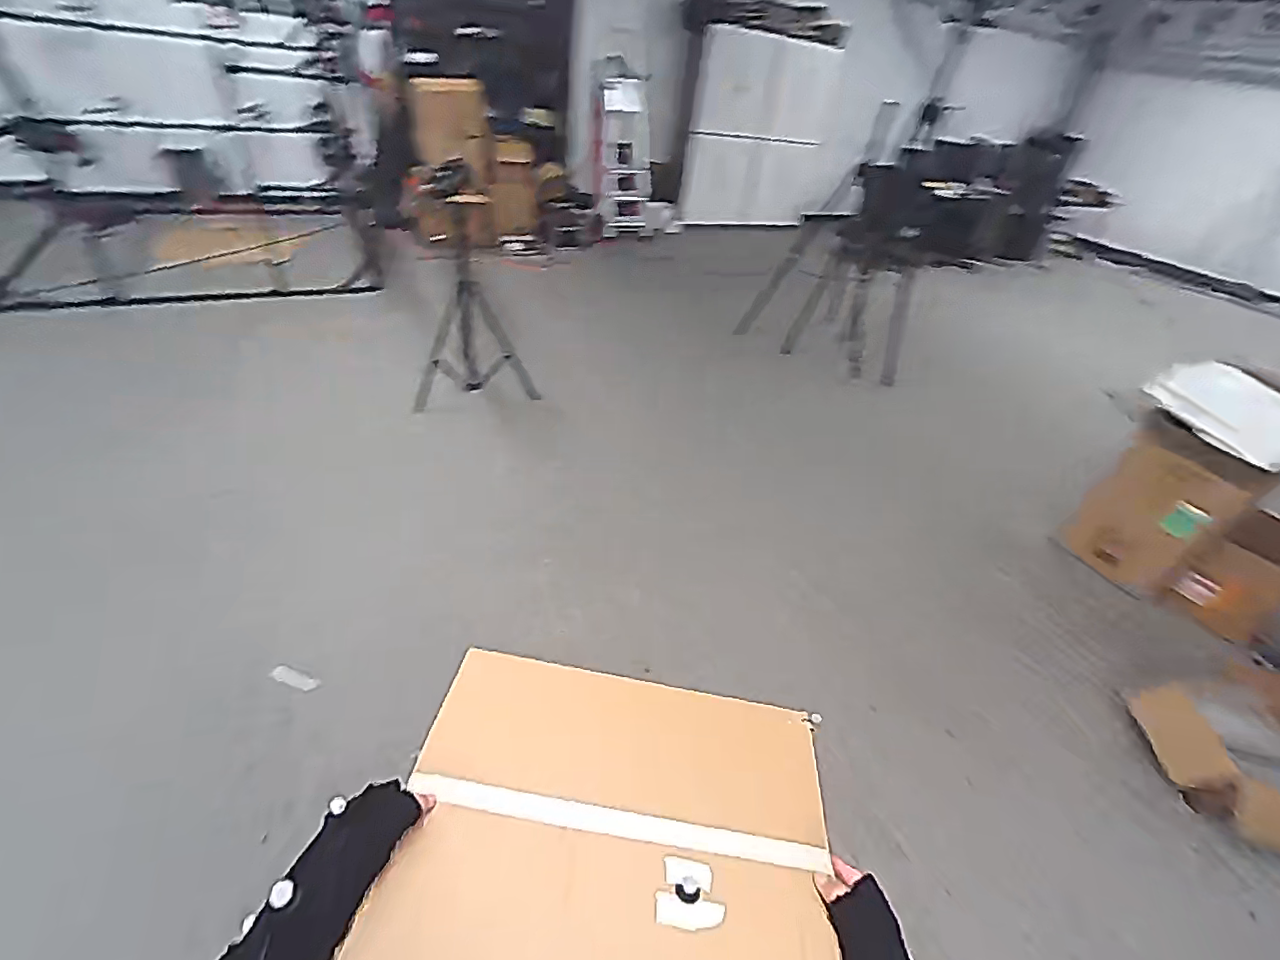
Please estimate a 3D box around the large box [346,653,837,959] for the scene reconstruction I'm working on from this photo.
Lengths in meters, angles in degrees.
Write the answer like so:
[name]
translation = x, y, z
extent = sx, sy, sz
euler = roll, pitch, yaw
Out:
[large box]
translation = -0.044, 0.445, 0.607
extent = 0.408, 0.320, 0.320
euler = 11, 35, -1
